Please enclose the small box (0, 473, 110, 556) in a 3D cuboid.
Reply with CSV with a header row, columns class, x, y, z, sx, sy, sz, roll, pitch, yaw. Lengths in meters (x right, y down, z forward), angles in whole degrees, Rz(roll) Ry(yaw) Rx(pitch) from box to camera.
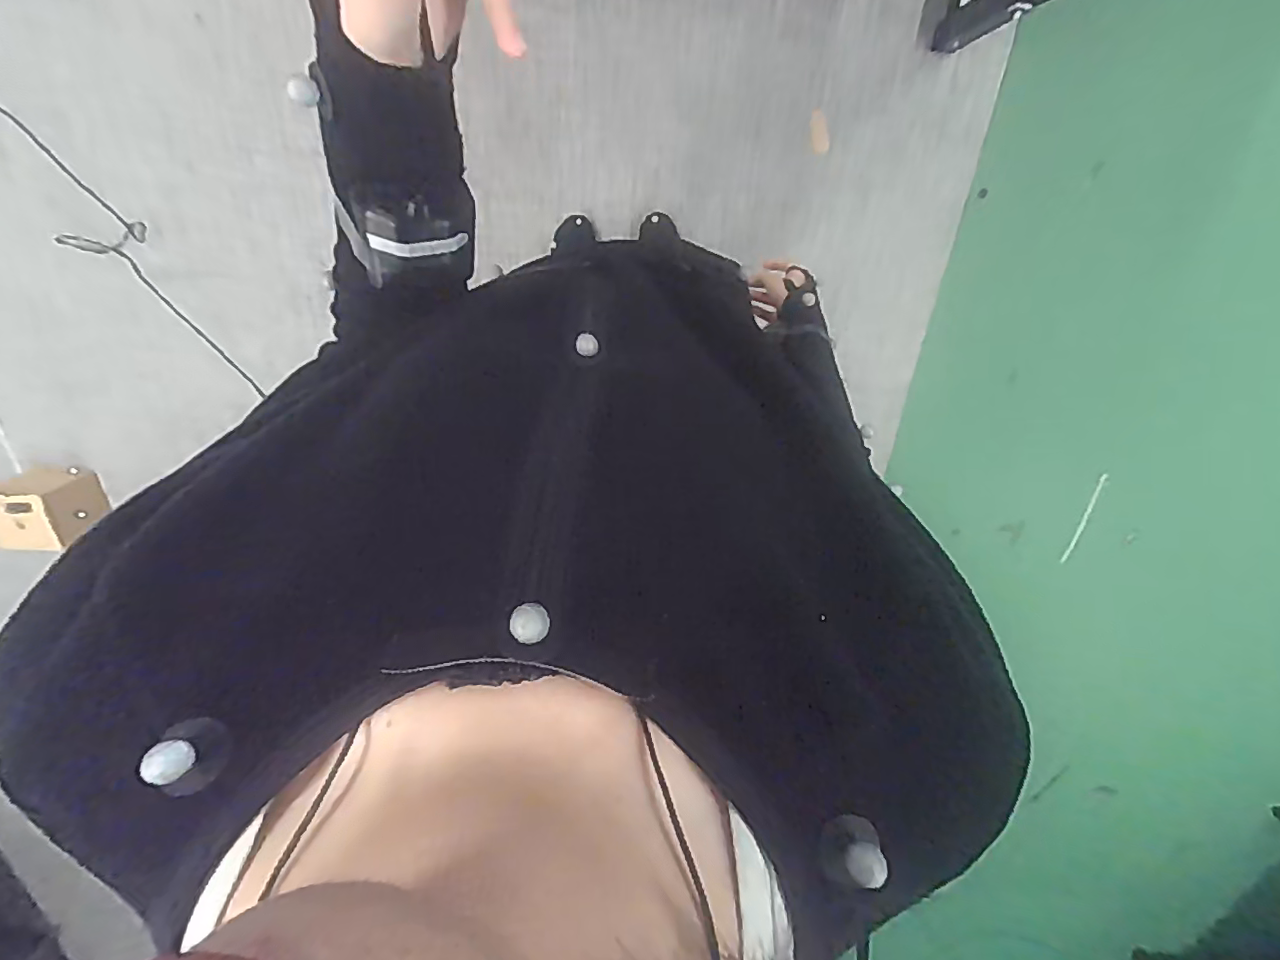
class,x,y,z,sx,sy,sz,roll,pitch,yaw
small box,-1.655,0.091,1.506,0.168,0.176,0.179,3,115,-2
